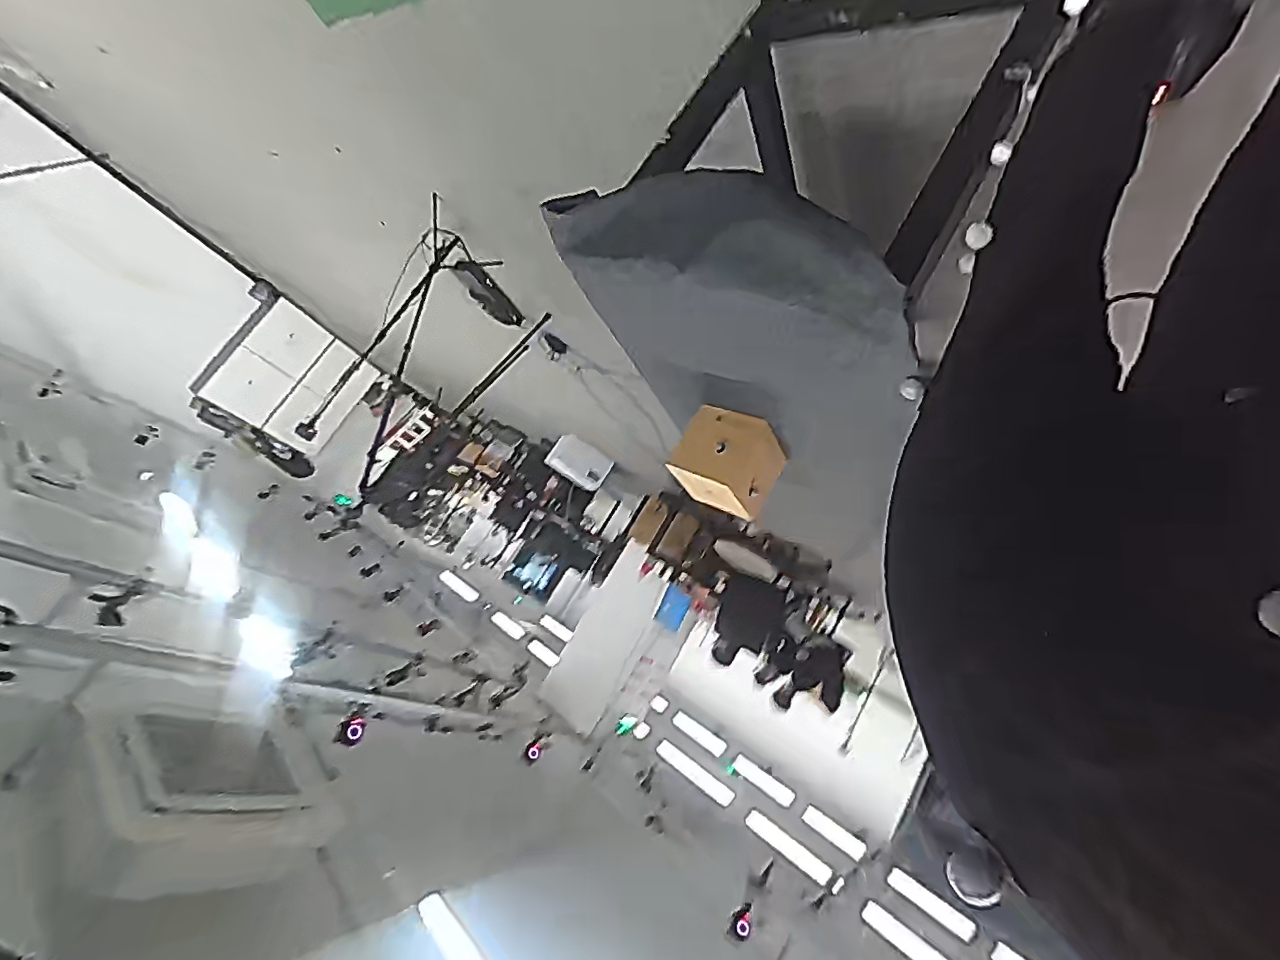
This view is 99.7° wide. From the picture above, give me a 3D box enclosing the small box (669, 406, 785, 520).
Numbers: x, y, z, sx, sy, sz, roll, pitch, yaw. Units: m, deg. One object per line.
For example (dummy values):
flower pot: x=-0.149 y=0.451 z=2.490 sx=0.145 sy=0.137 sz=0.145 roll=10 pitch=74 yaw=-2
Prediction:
small box: x=0.197 y=-0.041 z=1.200 sx=0.168 sy=0.176 sz=0.179 roll=22 pitch=165 yaw=38
